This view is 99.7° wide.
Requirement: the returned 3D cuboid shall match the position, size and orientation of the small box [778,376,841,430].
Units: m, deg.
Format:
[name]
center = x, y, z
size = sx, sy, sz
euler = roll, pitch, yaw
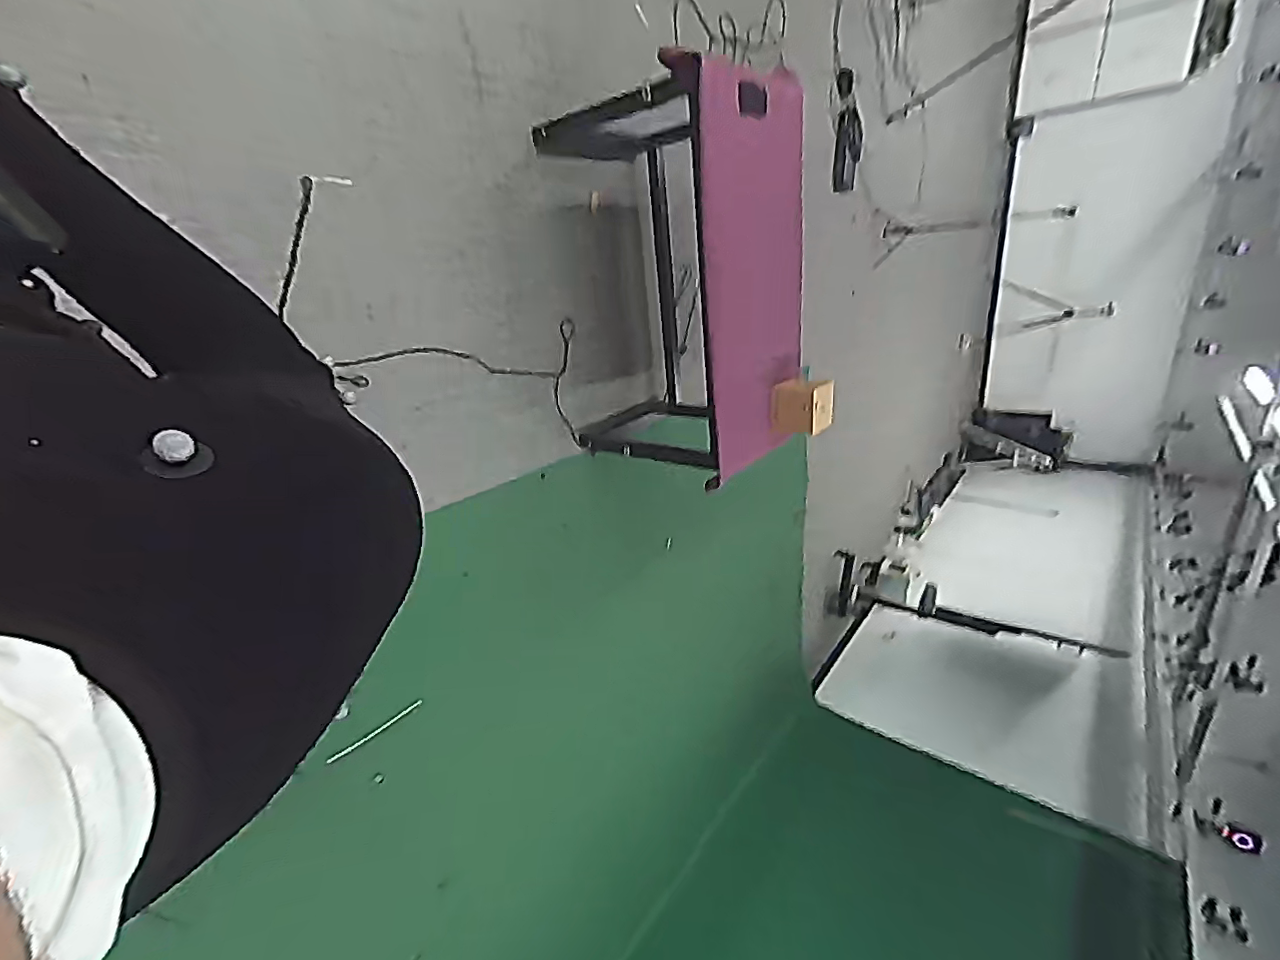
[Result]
[small box]
center = 0.633, -0.294, 2.019
size = 0.179, 0.176, 0.168
euler = -26, 118, -44
